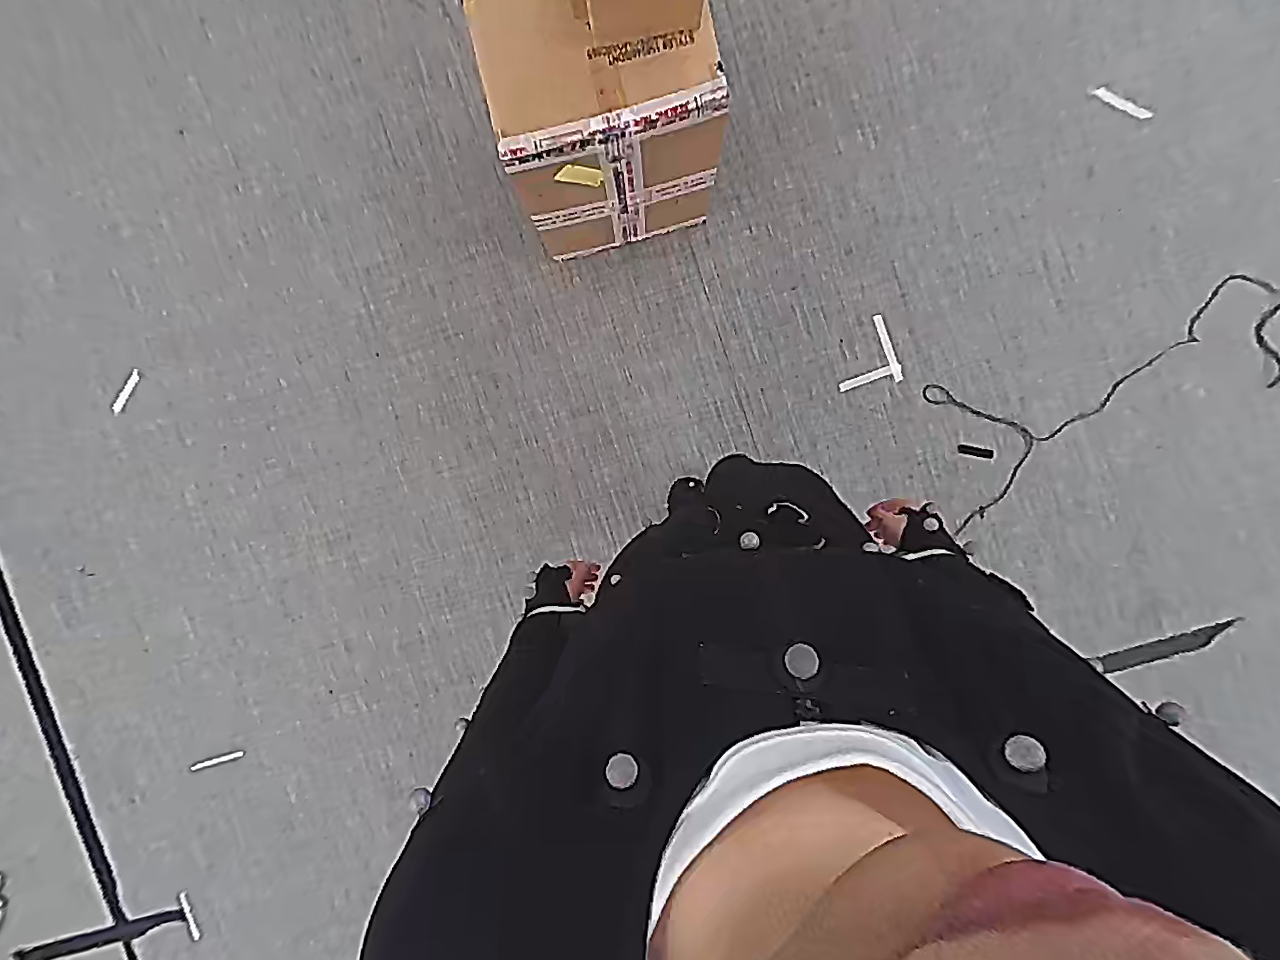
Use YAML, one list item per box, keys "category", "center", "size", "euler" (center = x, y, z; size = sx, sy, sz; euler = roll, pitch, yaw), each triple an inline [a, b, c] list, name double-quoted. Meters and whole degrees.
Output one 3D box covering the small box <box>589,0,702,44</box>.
- category: "small box"
  center: [-0.001, -0.779, 0.779]
  size: [0.179, 0.176, 0.168]
  euler: [-11, 94, 1]
